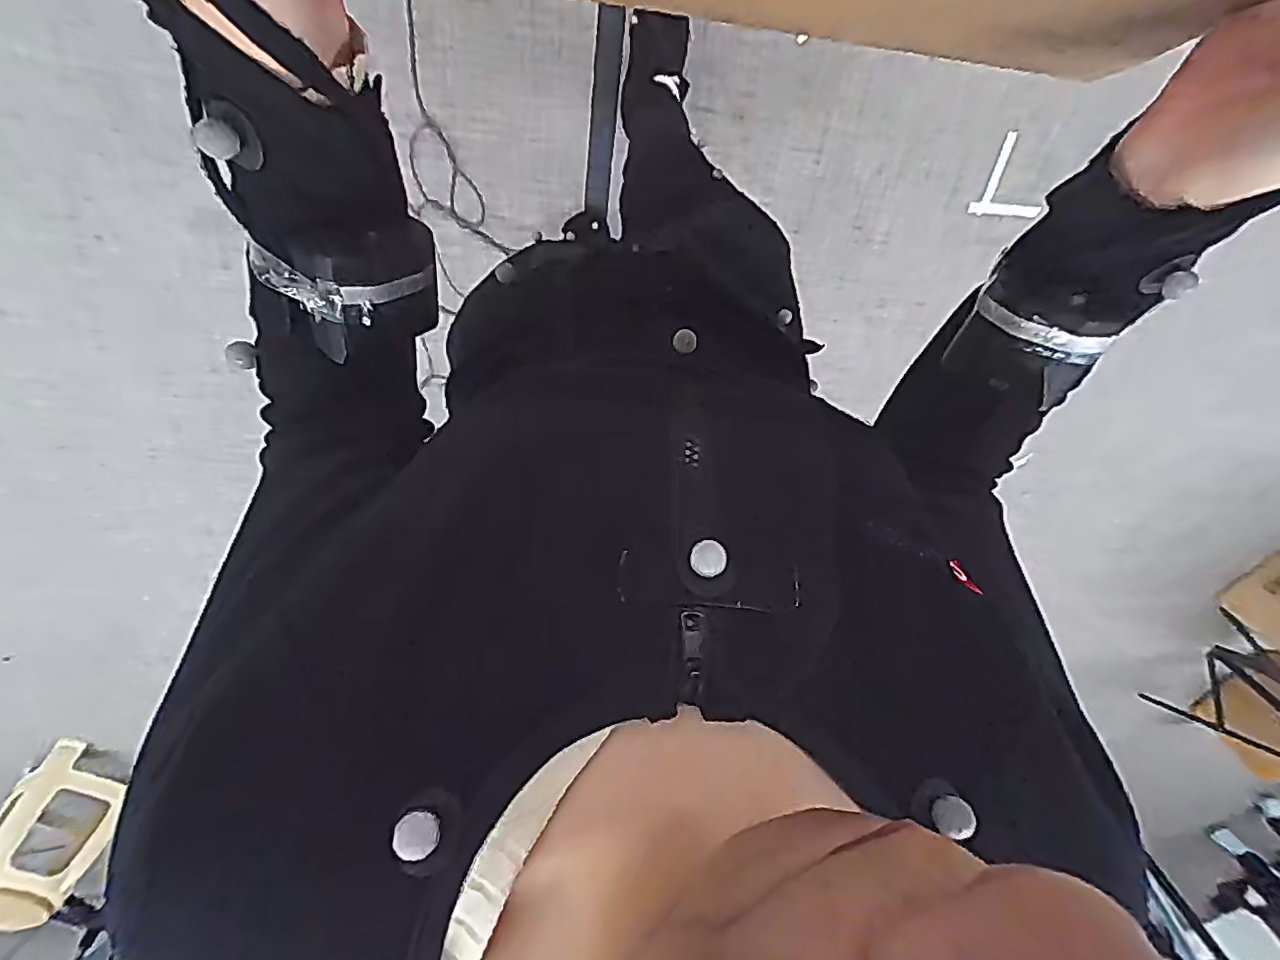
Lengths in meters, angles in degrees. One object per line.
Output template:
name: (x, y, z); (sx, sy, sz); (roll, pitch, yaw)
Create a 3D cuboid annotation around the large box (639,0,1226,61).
large box: (0.075, -0.342, 0.098); (0.408, 0.320, 0.320); (3, 110, -6)
